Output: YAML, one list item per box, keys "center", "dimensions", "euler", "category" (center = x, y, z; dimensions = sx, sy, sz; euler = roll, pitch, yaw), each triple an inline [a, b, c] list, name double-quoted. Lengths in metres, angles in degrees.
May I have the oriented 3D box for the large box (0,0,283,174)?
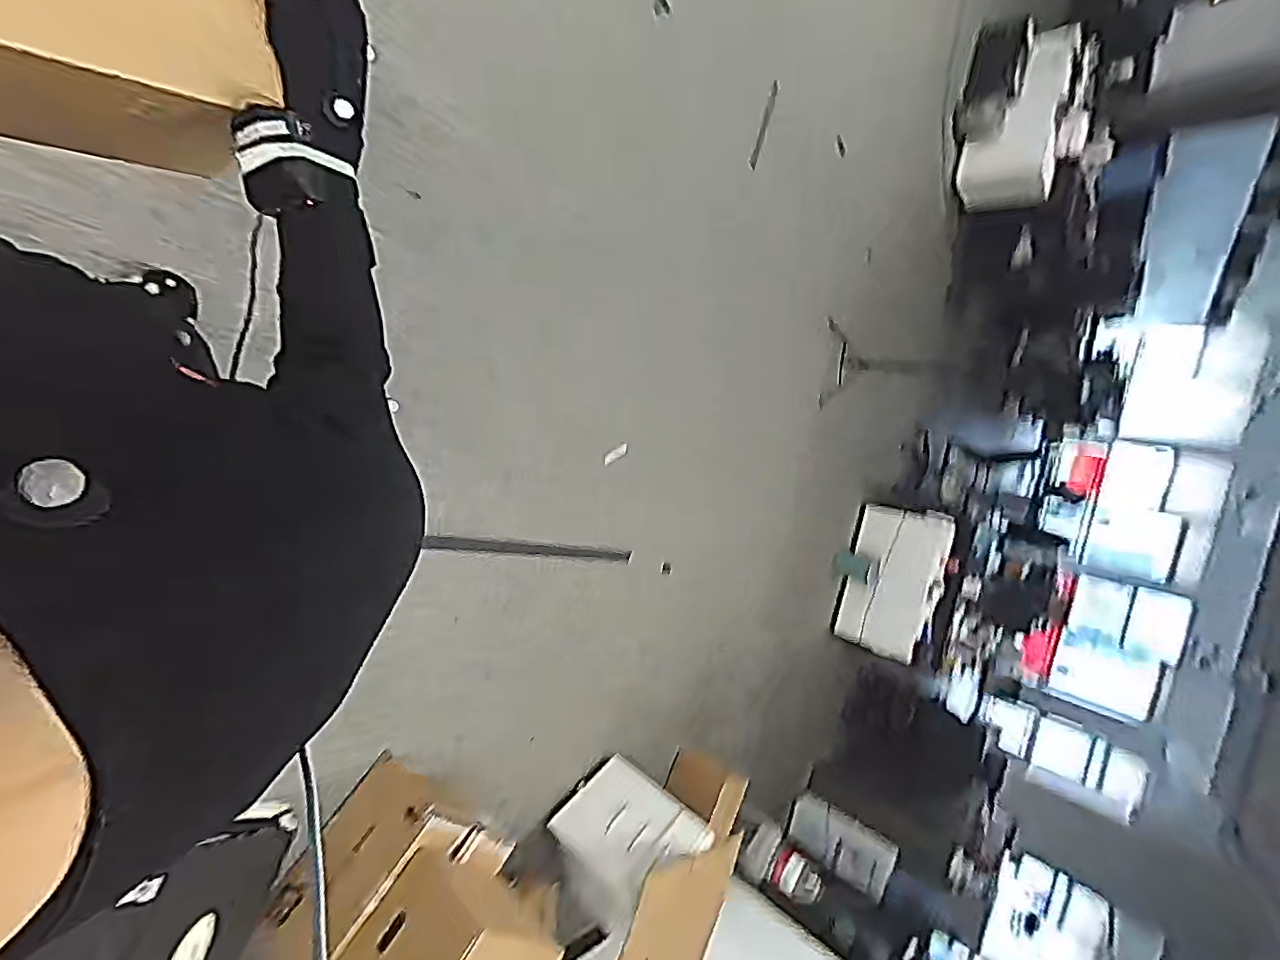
- center: [-0.517, -0.436, 0.350]
  dimensions: [0.408, 0.320, 0.320]
  euler: [-10, 112, -45]
  category: "large box"
